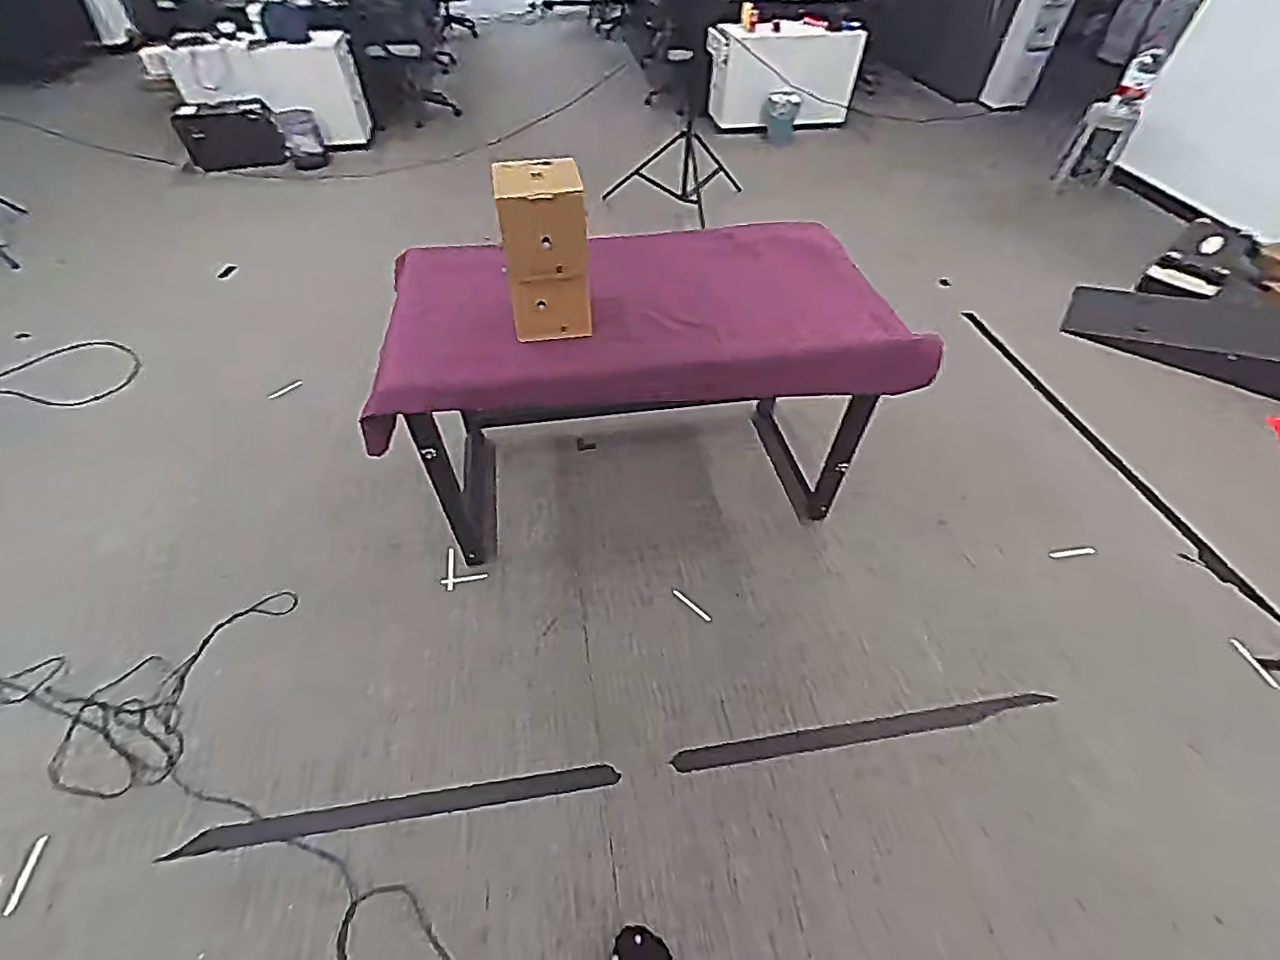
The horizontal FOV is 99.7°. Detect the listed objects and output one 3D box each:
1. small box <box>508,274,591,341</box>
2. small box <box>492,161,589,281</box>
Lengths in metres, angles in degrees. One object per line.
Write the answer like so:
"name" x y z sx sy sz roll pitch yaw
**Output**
"small box" -0.207 -0.434 1.241 0.168 0.176 0.179 -8 50 -7
"small box" -0.200 -0.520 1.100 0.168 0.176 0.179 -9 51 -8
